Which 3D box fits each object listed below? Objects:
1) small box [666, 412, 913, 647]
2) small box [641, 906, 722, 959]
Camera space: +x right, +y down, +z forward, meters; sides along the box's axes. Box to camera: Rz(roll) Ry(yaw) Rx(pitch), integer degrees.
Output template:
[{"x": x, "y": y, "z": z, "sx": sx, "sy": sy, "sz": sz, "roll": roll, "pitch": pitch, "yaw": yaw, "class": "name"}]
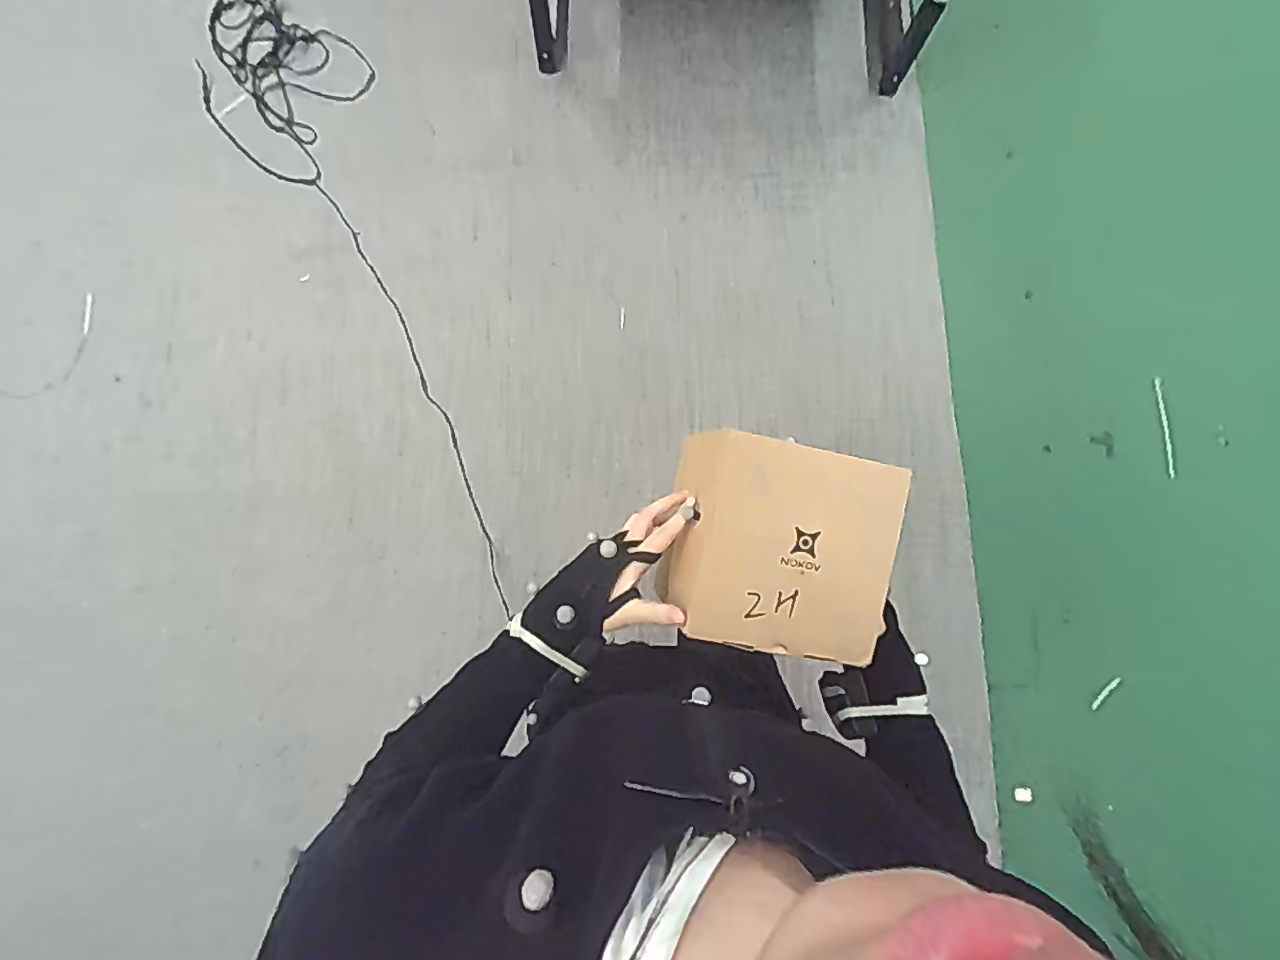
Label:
[{"x": 0.131, "y": 0.044, "z": 0.534, "sx": 0.168, "sy": 0.176, "sz": 0.179, "roll": 12, "pitch": 89, "yaw": -8, "class": "small box"}, {"x": 0.091, "y": 1.145, "z": 1.261, "sx": 0.168, "sy": 0.176, "sz": 0.179, "roll": 5, "pitch": 79, "yaw": -3, "class": "small box"}]
